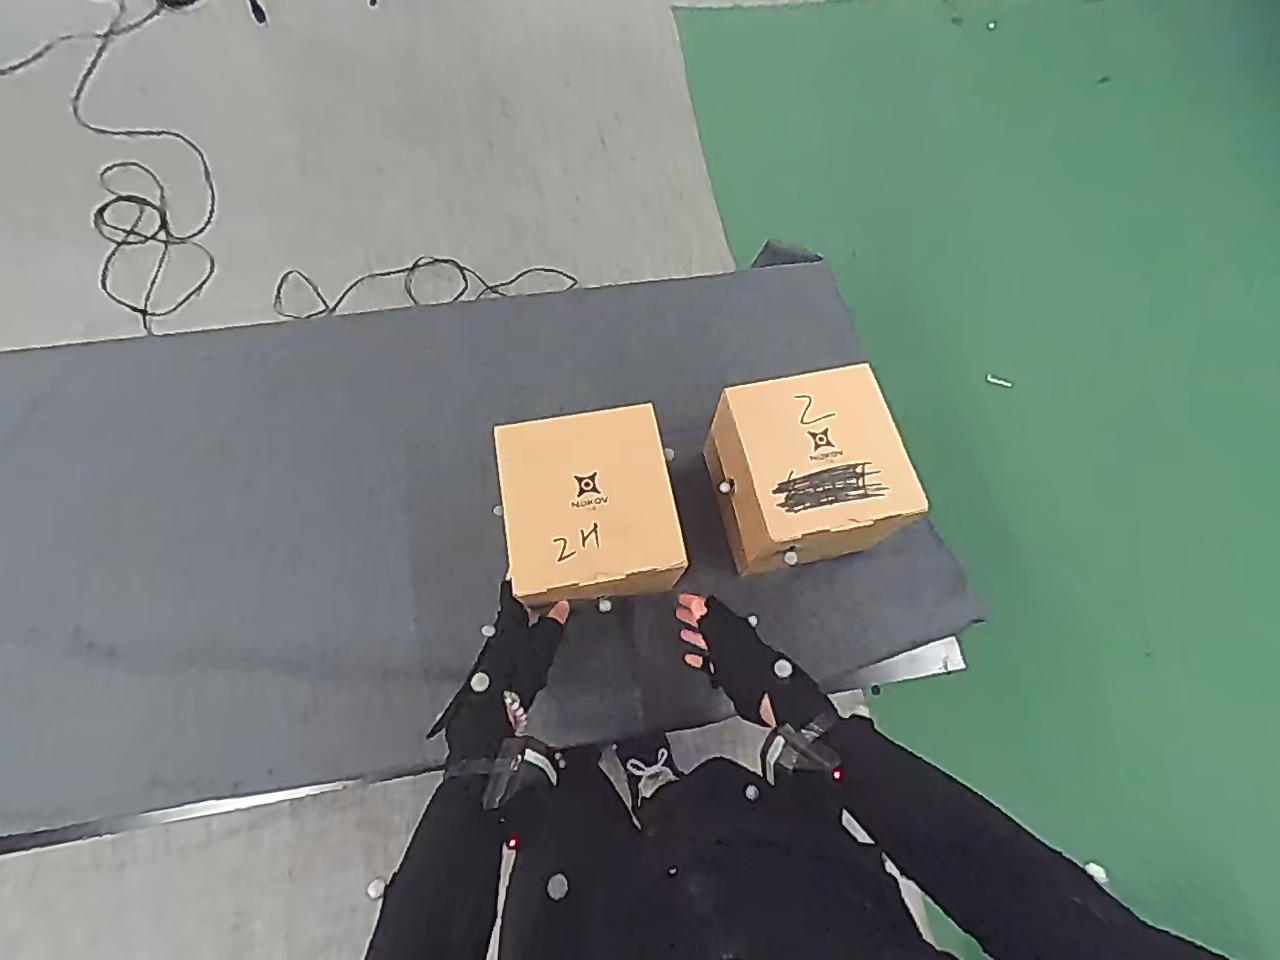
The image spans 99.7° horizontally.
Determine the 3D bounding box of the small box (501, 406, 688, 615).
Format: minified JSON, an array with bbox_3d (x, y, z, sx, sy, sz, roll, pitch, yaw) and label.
[{"bbox_3d":[-0.052,0.041,0.601,0.168,0.176,0.179,-9,70,-5],"label":"small box"}]
